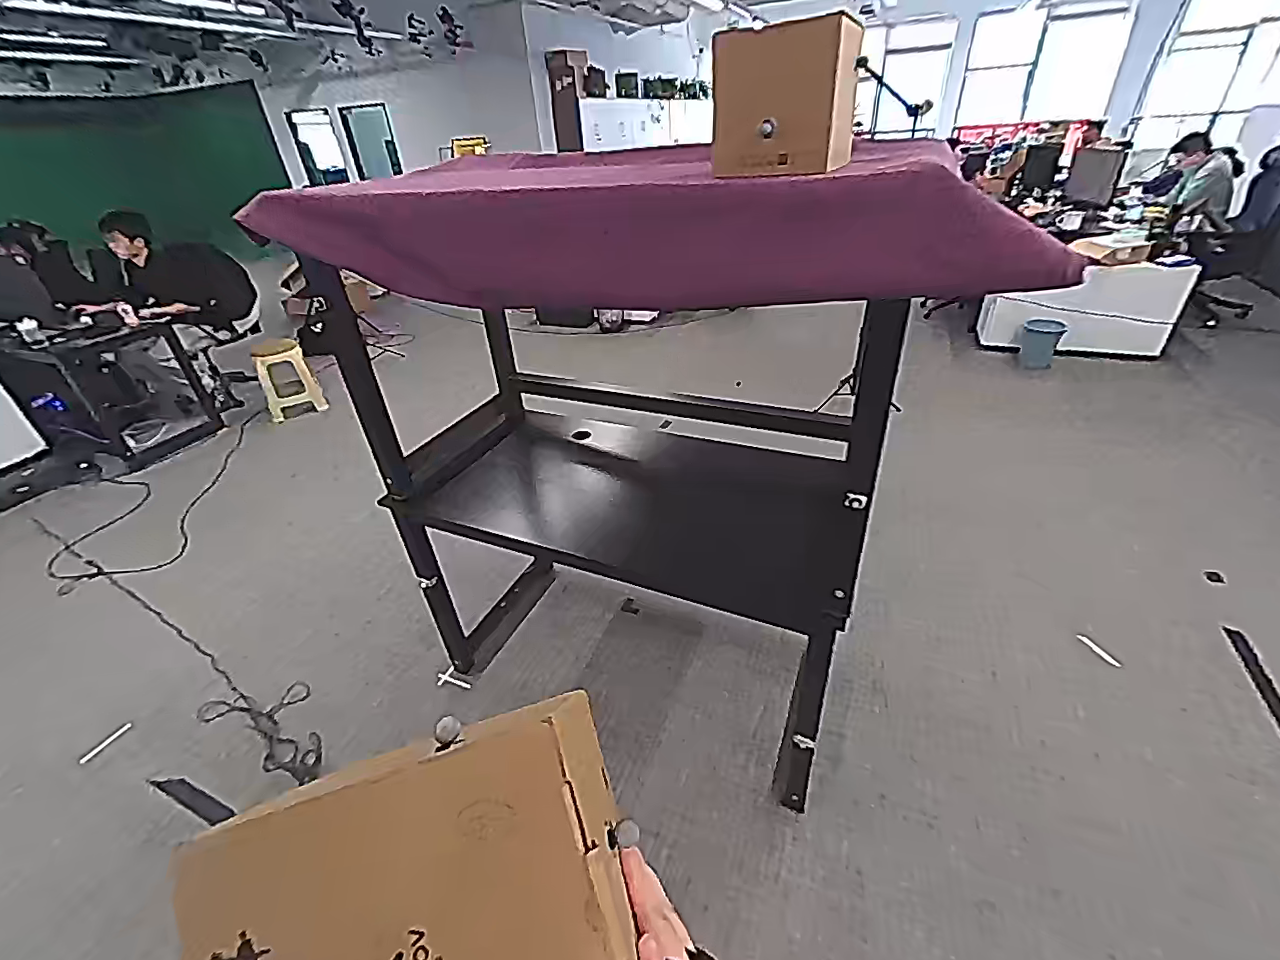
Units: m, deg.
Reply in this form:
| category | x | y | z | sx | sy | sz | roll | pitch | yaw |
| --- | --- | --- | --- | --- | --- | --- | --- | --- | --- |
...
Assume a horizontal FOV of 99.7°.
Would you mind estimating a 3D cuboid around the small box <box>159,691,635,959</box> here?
| category | x | y | z | sx | sy | sz | roll | pitch | yaw |
| --- | --- | --- | --- | --- | --- | --- | --- | --- | --- |
| small box | -0.103 | 0.227 | 0.297 | 0.179 | 0.176 | 0.168 | -17 | 73 | -7 |

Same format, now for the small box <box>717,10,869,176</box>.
| category | x | y | z | sx | sy | sz | roll | pitch | yaw |
| --- | --- | --- | --- | --- | --- | --- | --- | --- | --- |
| small box | 0.212 | -0.533 | 0.765 | 0.168 | 0.176 | 0.179 | 12 | 36 | 25 |
